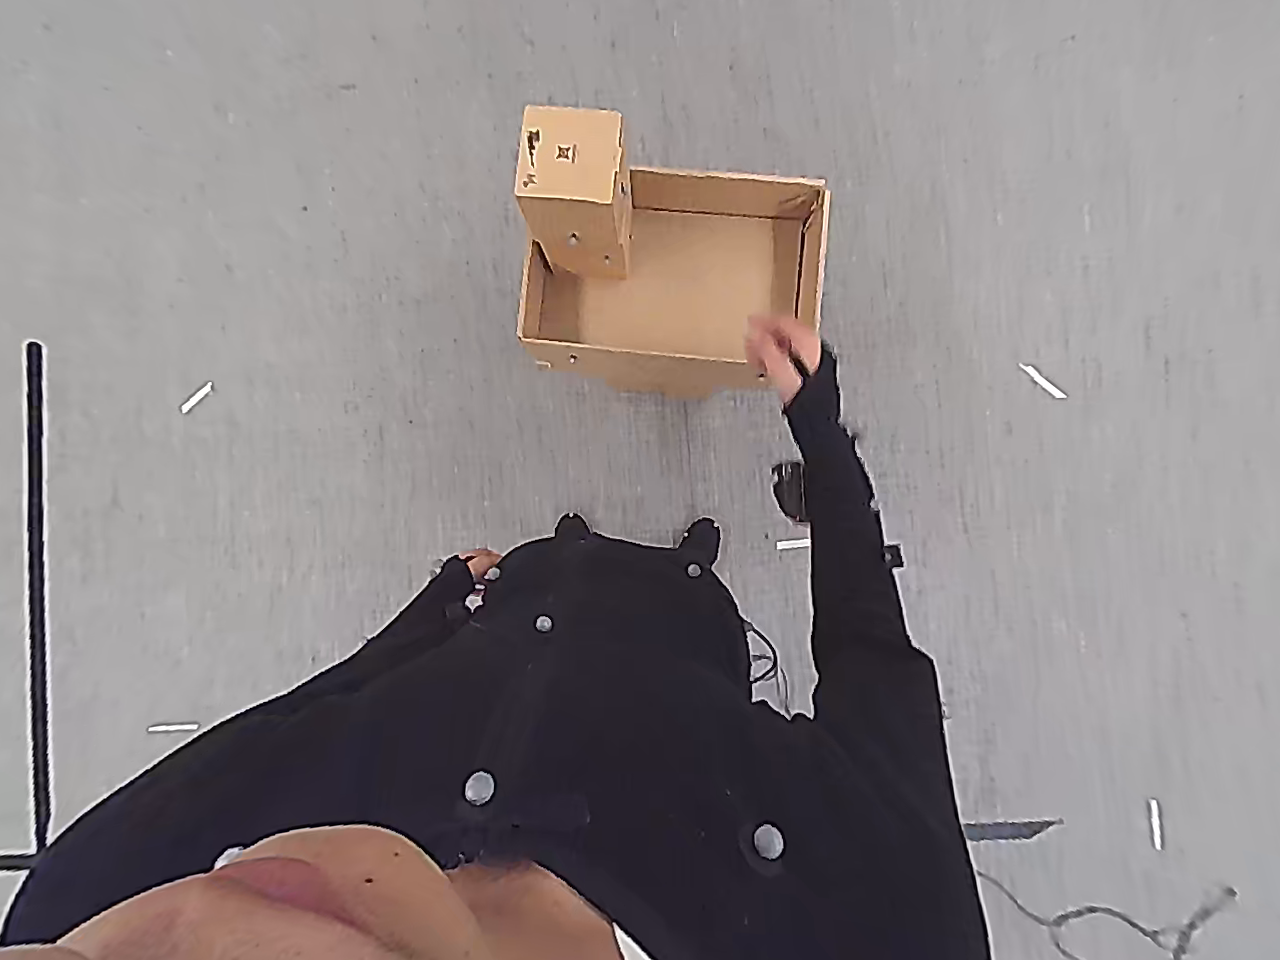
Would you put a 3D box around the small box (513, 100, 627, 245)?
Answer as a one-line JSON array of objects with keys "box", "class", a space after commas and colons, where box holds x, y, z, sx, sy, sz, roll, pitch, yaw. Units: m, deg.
[{"box": [-0.119, -0.555, 1.000, 0.179, 0.176, 0.168, 7, 87, 2], "class": "small box"}]
